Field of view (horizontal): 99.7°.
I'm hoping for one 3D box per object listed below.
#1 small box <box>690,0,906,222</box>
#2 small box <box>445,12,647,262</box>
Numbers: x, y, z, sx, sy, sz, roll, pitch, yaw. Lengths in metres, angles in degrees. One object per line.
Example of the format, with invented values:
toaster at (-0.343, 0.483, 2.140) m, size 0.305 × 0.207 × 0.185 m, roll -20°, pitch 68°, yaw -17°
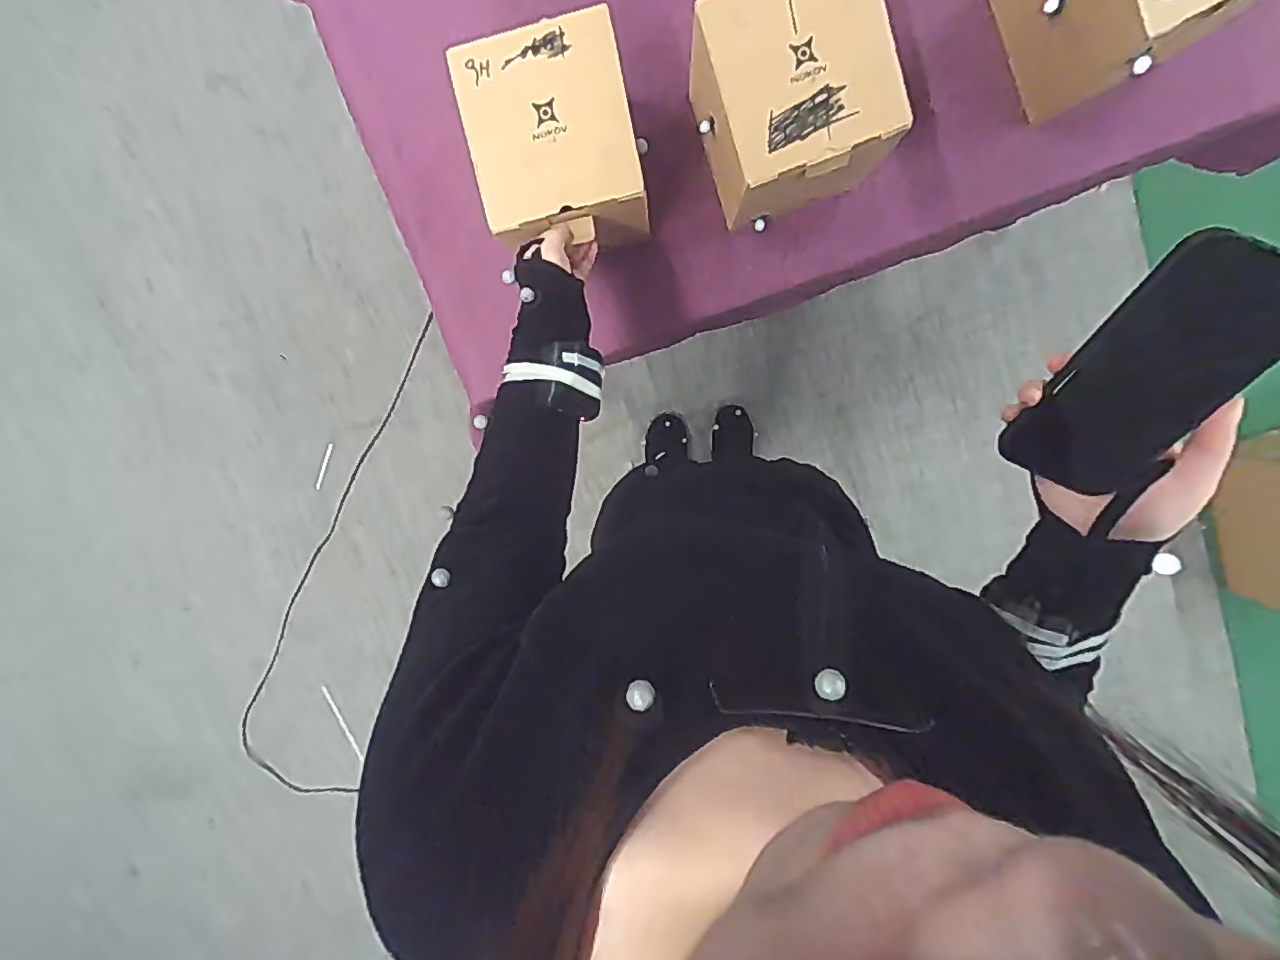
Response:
small box at (0.158, -0.406, 0.591) m, size 0.168 × 0.176 × 0.179 m, roll -18°, pitch 97°, yaw 6°
small box at (-0.090, -0.361, 0.613) m, size 0.168 × 0.176 × 0.179 m, roll -12°, pitch 99°, yaw 5°
